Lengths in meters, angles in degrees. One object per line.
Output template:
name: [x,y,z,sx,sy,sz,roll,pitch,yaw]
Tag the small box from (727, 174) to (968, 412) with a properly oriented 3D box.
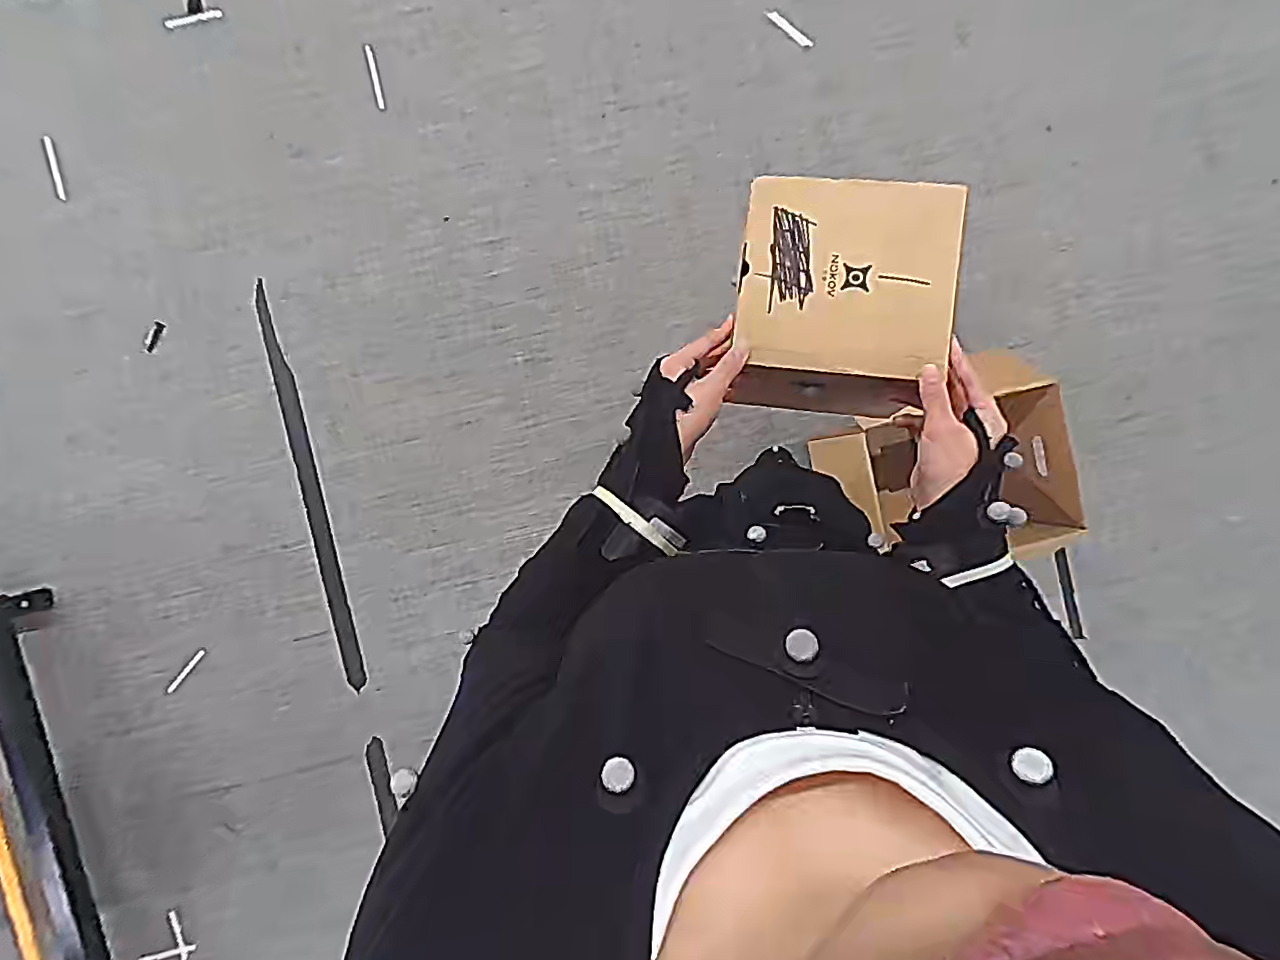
small box: [0.182,-0.166,0.524,0.179,0.176,0.168,7,88,9]
